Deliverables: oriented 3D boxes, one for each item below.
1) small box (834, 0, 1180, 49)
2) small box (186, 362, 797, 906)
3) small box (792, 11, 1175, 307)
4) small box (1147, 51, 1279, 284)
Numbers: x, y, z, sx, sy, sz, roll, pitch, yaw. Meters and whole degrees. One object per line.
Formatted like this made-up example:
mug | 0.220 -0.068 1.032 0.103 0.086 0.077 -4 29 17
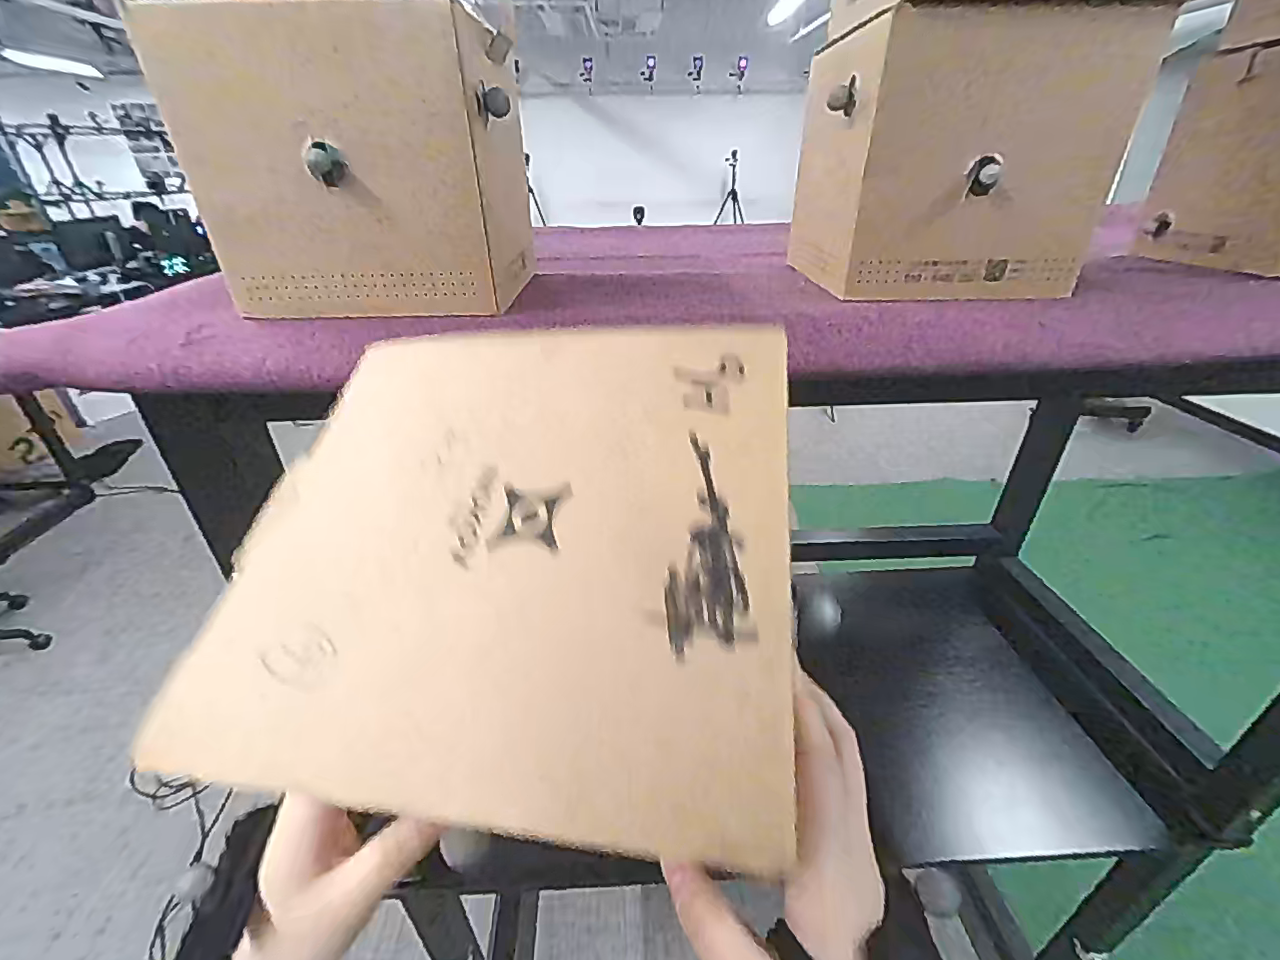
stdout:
small box | 0.238 -0.371 0.329 0.179 0.176 0.168 -1 30 1
small box | -0.024 0.066 0.244 0.179 0.176 0.168 2 58 13
small box | 0.228 -0.237 0.422 0.168 0.176 0.179 0 31 0
small box | 0.589 -0.263 0.455 0.179 0.176 0.168 1 29 4
